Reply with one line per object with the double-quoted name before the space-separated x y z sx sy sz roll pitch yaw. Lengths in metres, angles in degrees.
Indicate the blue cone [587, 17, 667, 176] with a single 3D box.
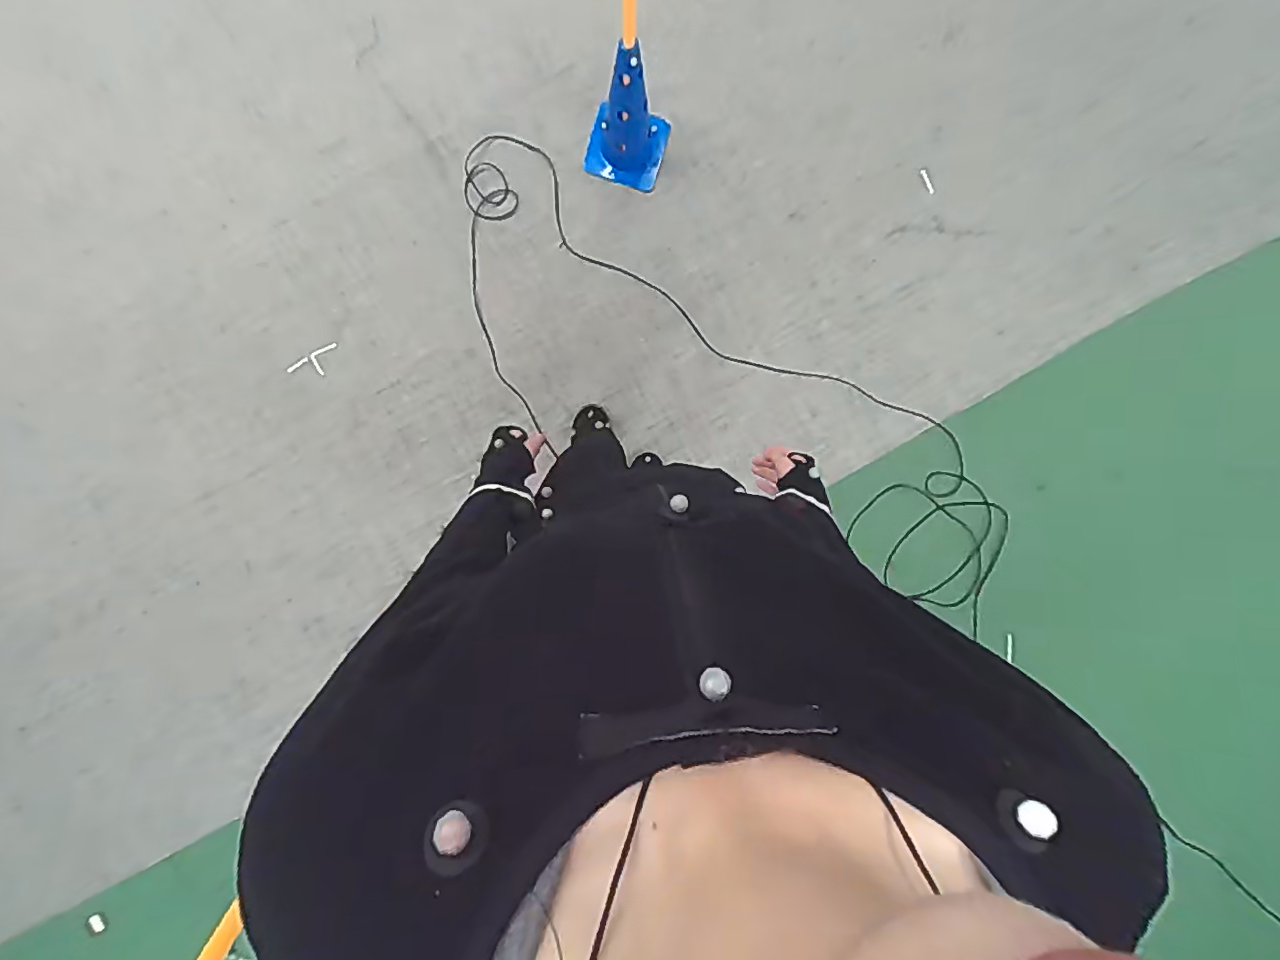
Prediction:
"blue cone" -0.027 -0.905 1.255 0.192 0.380 0.193 16 90 -3
